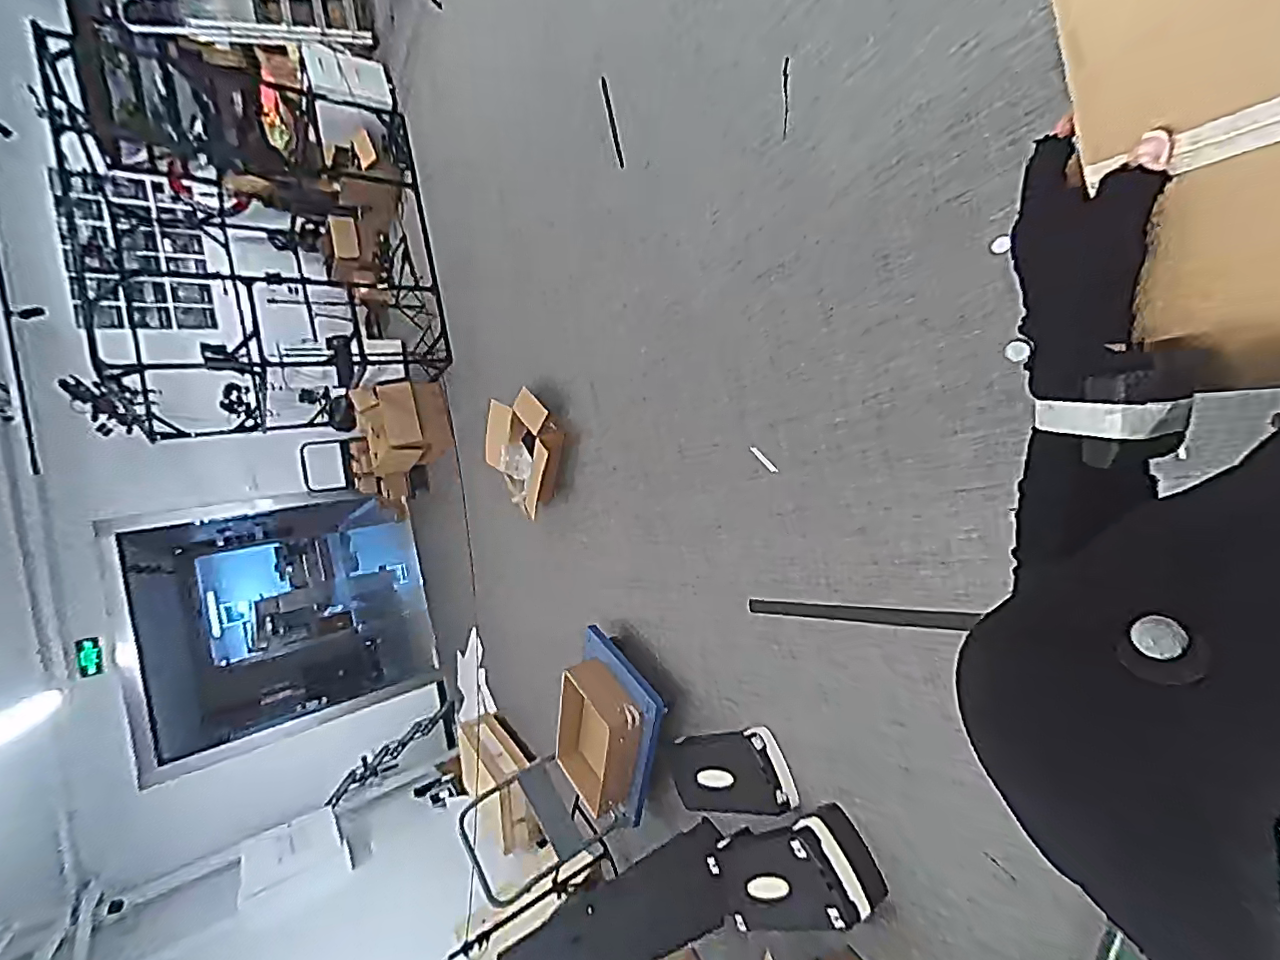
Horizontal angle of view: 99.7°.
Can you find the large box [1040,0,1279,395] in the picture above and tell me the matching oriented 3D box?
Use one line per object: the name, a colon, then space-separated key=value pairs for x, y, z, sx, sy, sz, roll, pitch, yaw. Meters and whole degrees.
large box: x=0.491 y=-0.267 z=0.240 sx=0.408 sy=0.320 sz=0.320 roll=3 pitch=131 yaw=58
